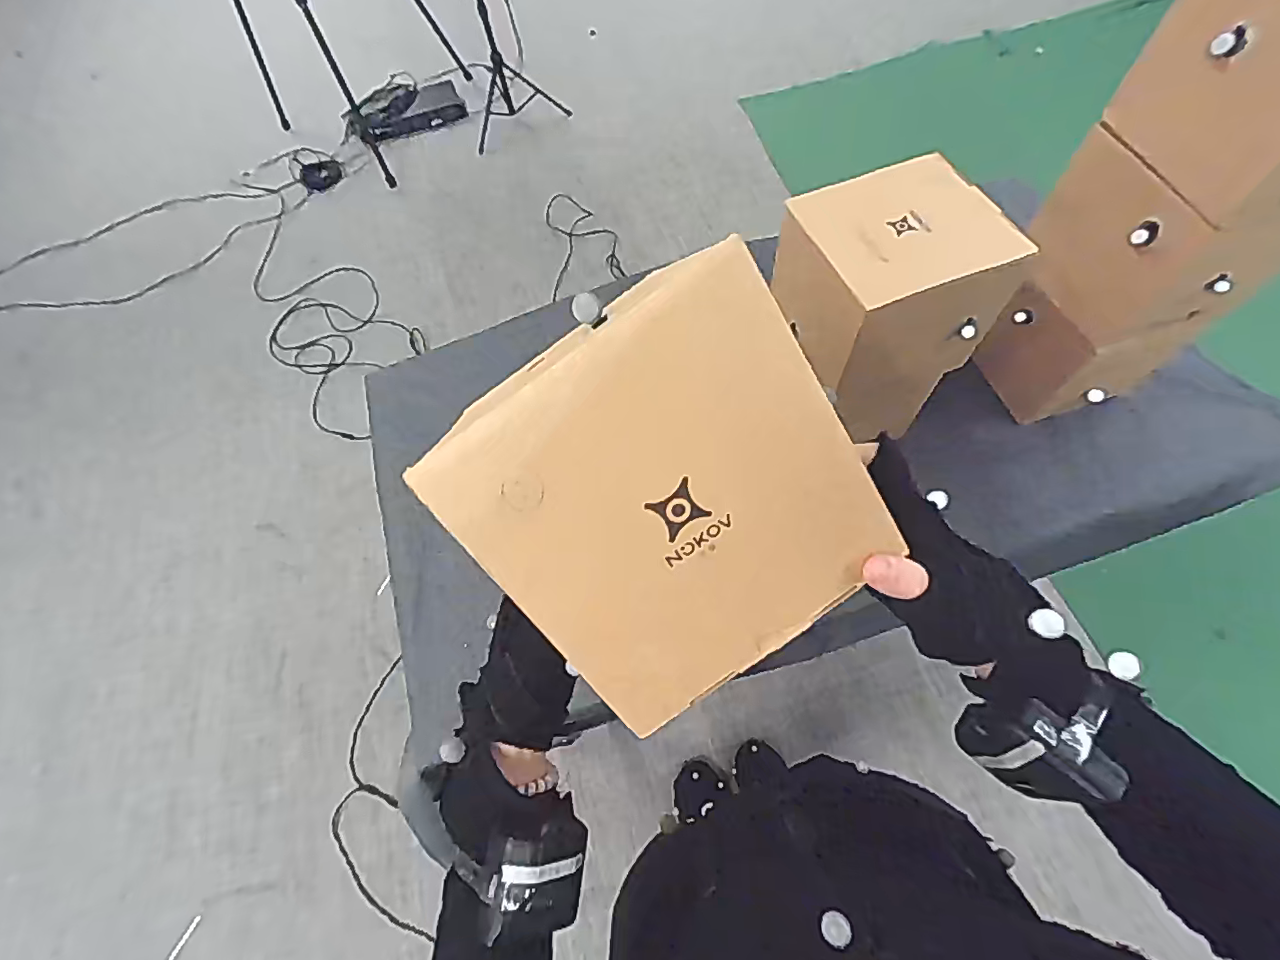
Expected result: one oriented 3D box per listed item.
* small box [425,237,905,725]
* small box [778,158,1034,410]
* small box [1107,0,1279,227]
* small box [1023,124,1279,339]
[{"bbox_3d":[0.008,-0.008,0.321,0.168,0.176,0.179,-35,109,0],"label":"small box"},{"bbox_3d":[0.263,-0.205,0.594,0.179,0.176,0.168,-20,63,-4],"label":"small box"},{"bbox_3d":[0.559,-0.349,0.450,0.168,0.176,0.179,-14,63,0],"label":"small box"},{"bbox_3d":[0.576,-0.278,0.597,0.168,0.176,0.179,-15,63,-2],"label":"small box"}]
